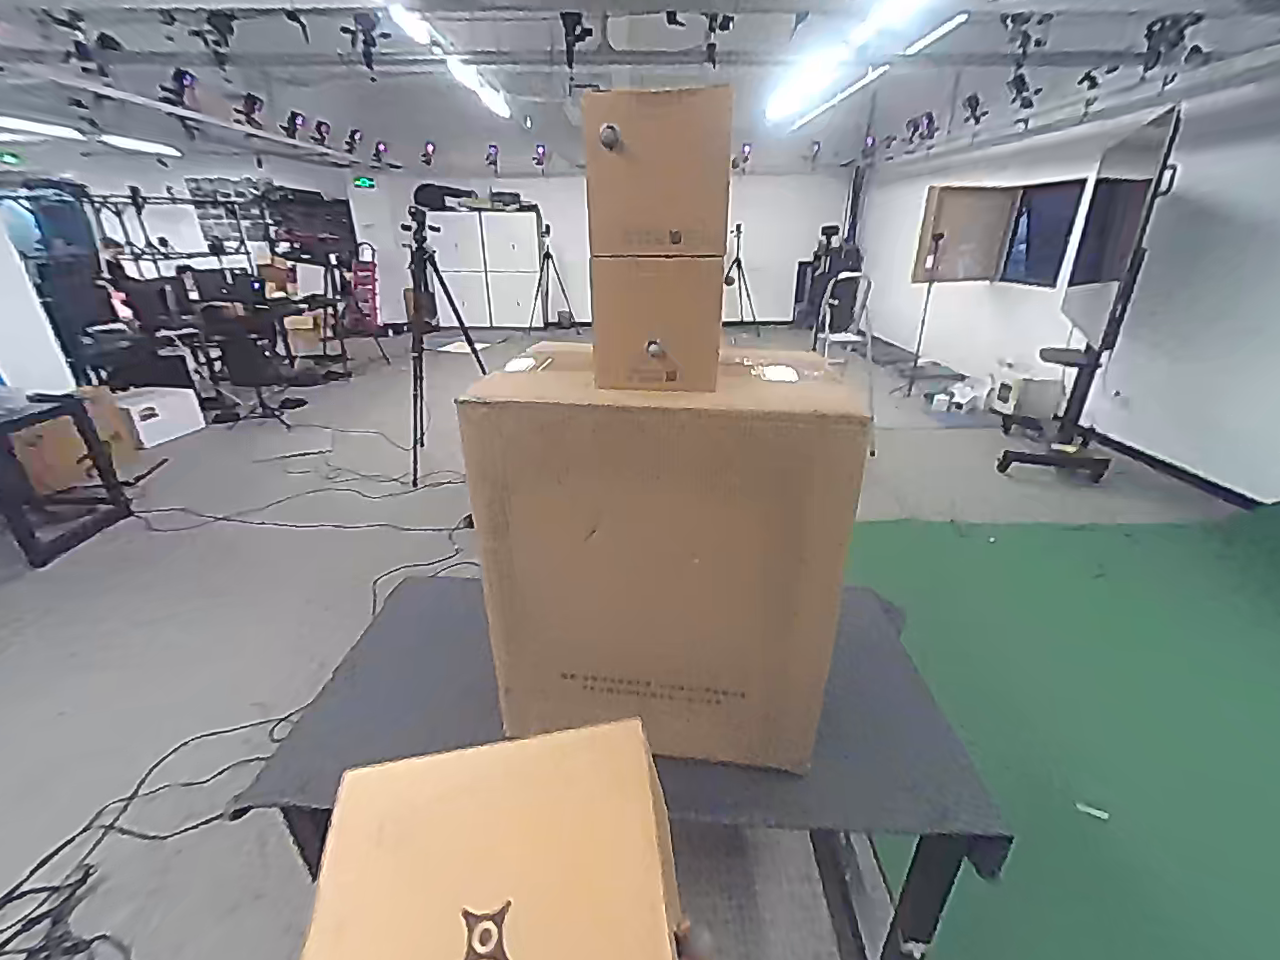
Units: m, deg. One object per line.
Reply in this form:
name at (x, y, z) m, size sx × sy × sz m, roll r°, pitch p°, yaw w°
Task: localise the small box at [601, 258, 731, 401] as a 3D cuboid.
small box at (0.040, -0.221, 0.774) m, size 0.168 × 0.176 × 0.179 m, roll 3°, pitch 26°, yaw 6°
